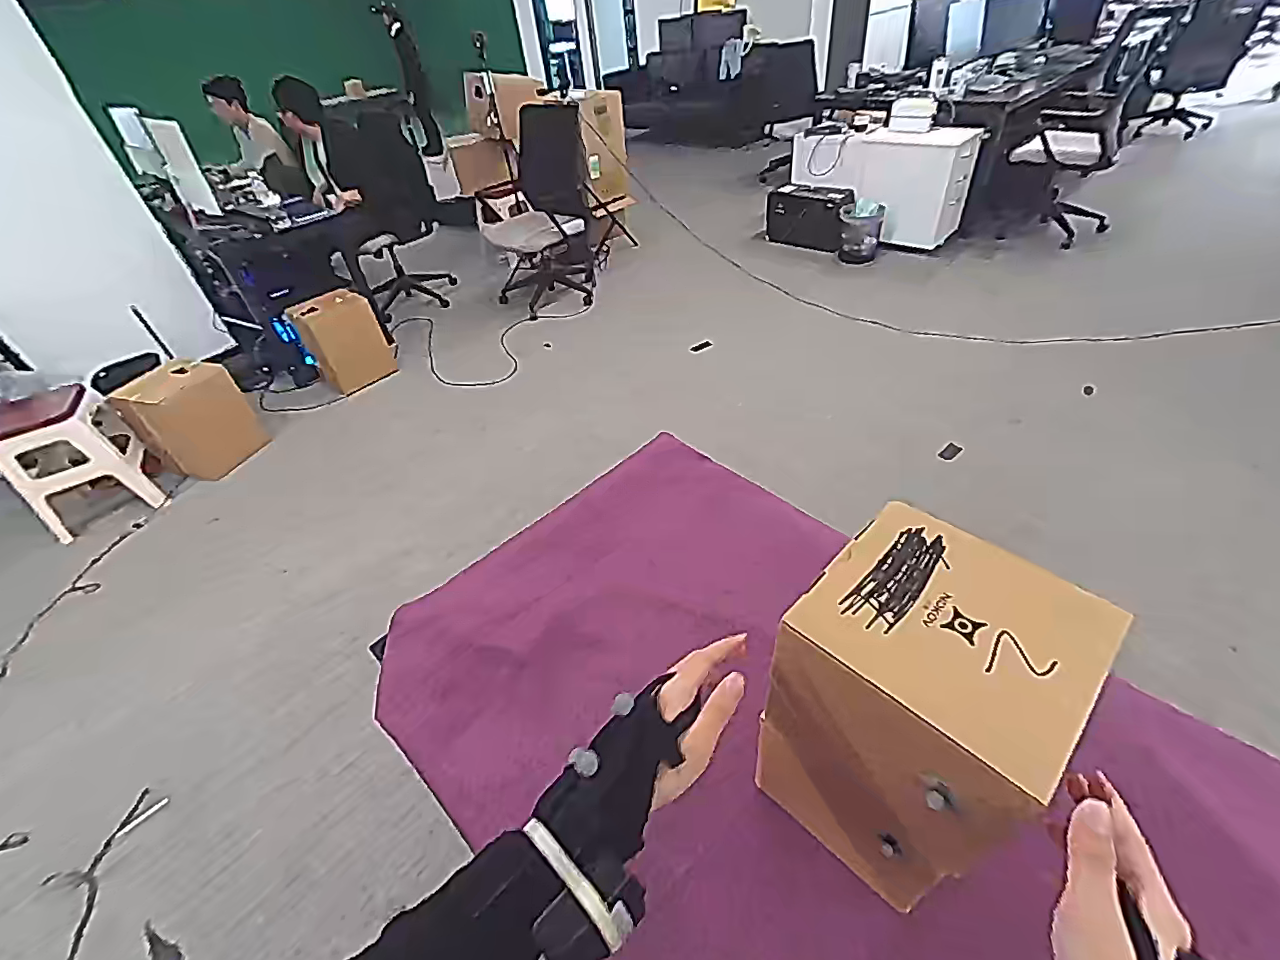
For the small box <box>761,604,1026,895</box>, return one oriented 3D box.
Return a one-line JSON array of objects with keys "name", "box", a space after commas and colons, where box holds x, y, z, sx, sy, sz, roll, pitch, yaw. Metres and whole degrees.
[{"name": "small box", "box": [0.239, 0.270, 0.549, 0.179, 0.176, 0.168, 31, 54, 34]}]
